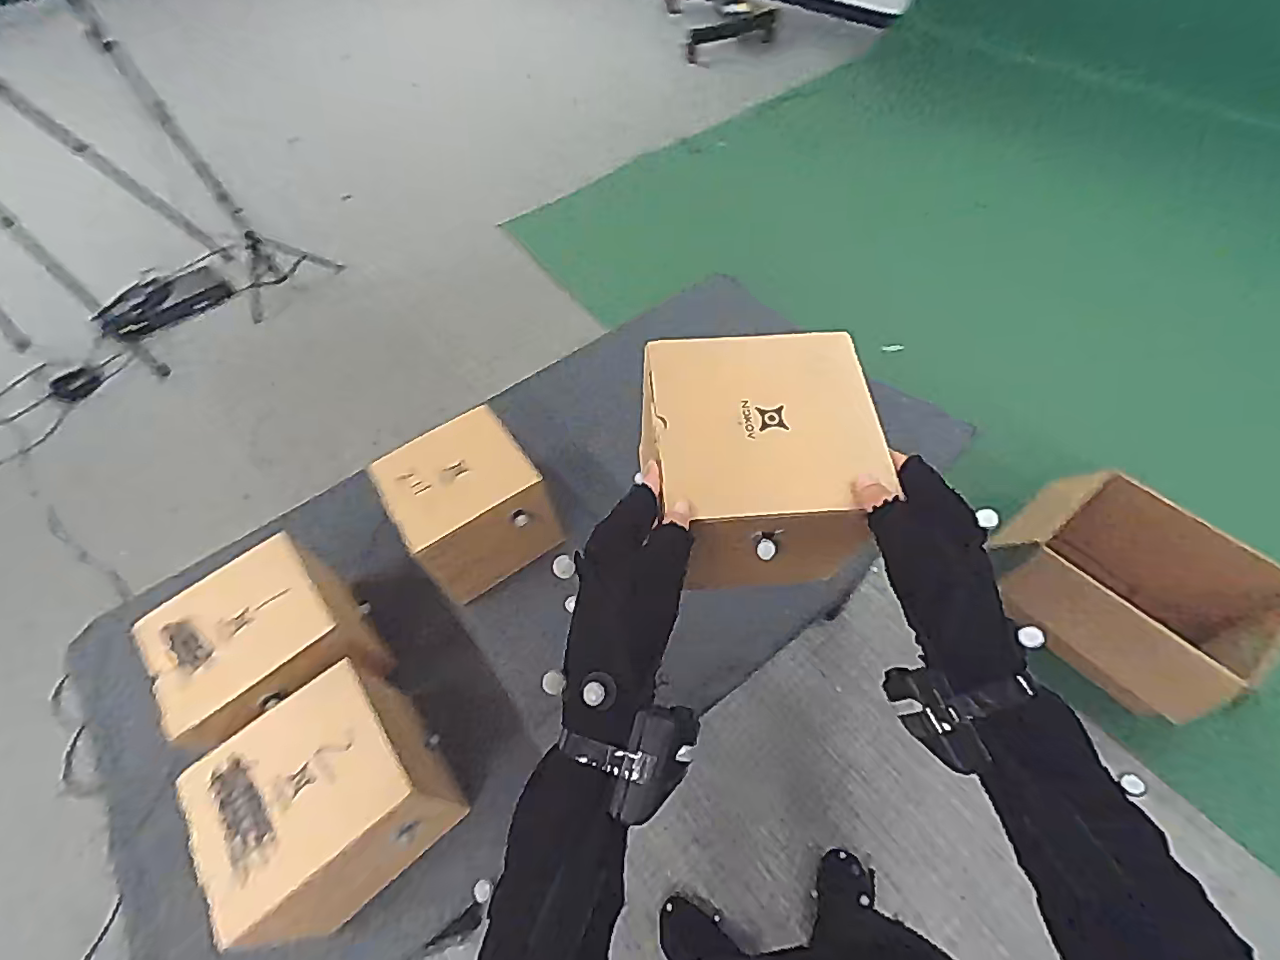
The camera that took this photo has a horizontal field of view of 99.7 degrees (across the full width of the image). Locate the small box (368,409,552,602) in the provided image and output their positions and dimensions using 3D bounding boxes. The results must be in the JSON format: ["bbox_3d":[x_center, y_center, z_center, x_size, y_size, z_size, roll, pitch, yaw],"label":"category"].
[{"bbox_3d":[-0.239,0.039,0.763,0.179,0.176,0.168,-32,59,-16],"label":"small box"}]
